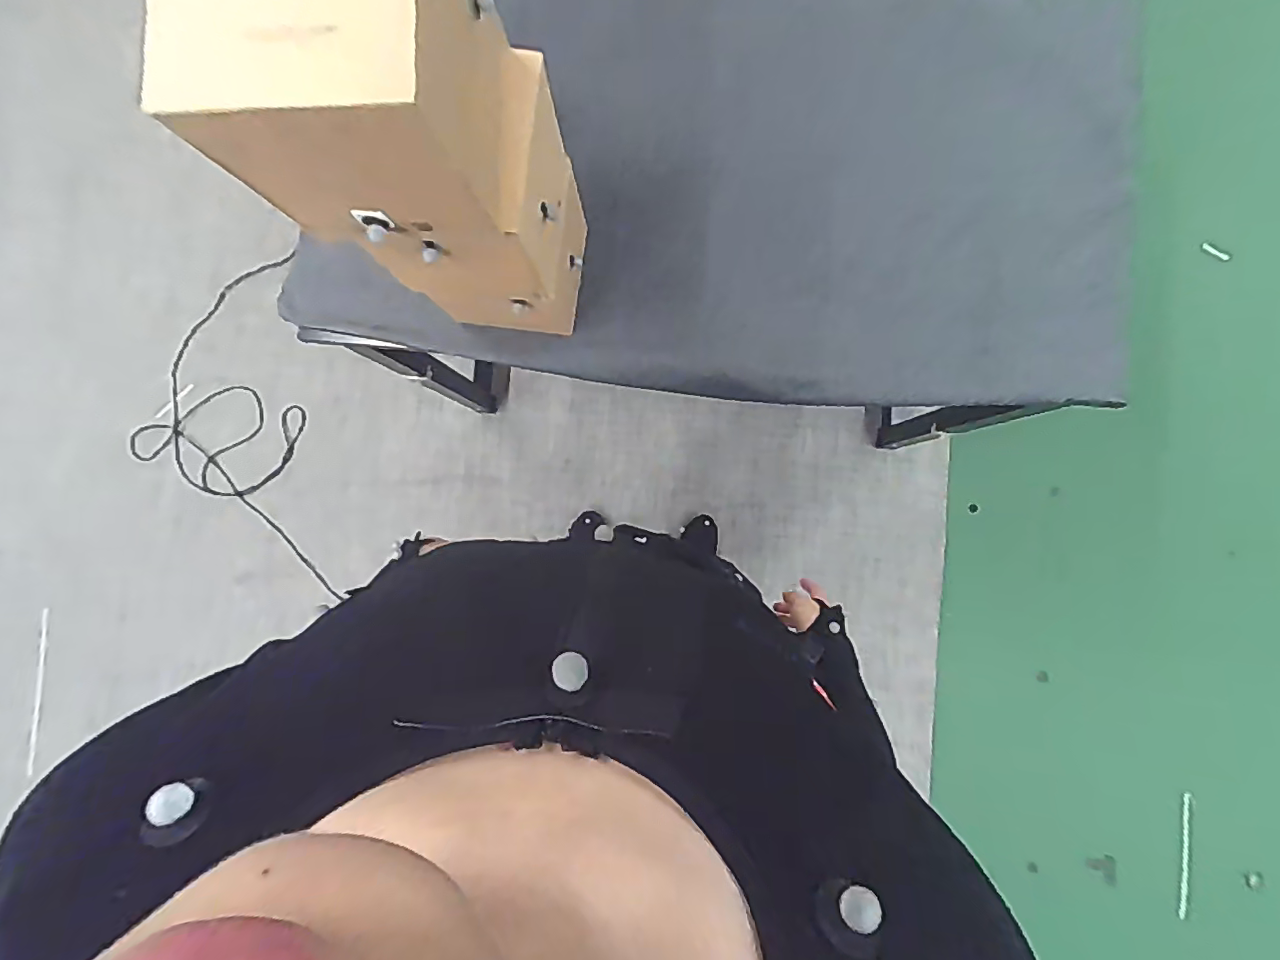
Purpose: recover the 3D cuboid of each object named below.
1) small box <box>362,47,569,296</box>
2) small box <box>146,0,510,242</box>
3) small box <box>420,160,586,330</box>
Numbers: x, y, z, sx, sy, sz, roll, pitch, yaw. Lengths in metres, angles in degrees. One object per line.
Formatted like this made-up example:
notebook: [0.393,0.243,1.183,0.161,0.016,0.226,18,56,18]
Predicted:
small box: [-0.176,-0.302,0.554,0.179,0.176,0.168,6,89,3]
small box: [-0.200,-0.297,0.393,0.168,0.176,0.179,0,89,4]
small box: [-0.175,-0.309,0.717,0.179,0.176,0.168,8,88,3]
